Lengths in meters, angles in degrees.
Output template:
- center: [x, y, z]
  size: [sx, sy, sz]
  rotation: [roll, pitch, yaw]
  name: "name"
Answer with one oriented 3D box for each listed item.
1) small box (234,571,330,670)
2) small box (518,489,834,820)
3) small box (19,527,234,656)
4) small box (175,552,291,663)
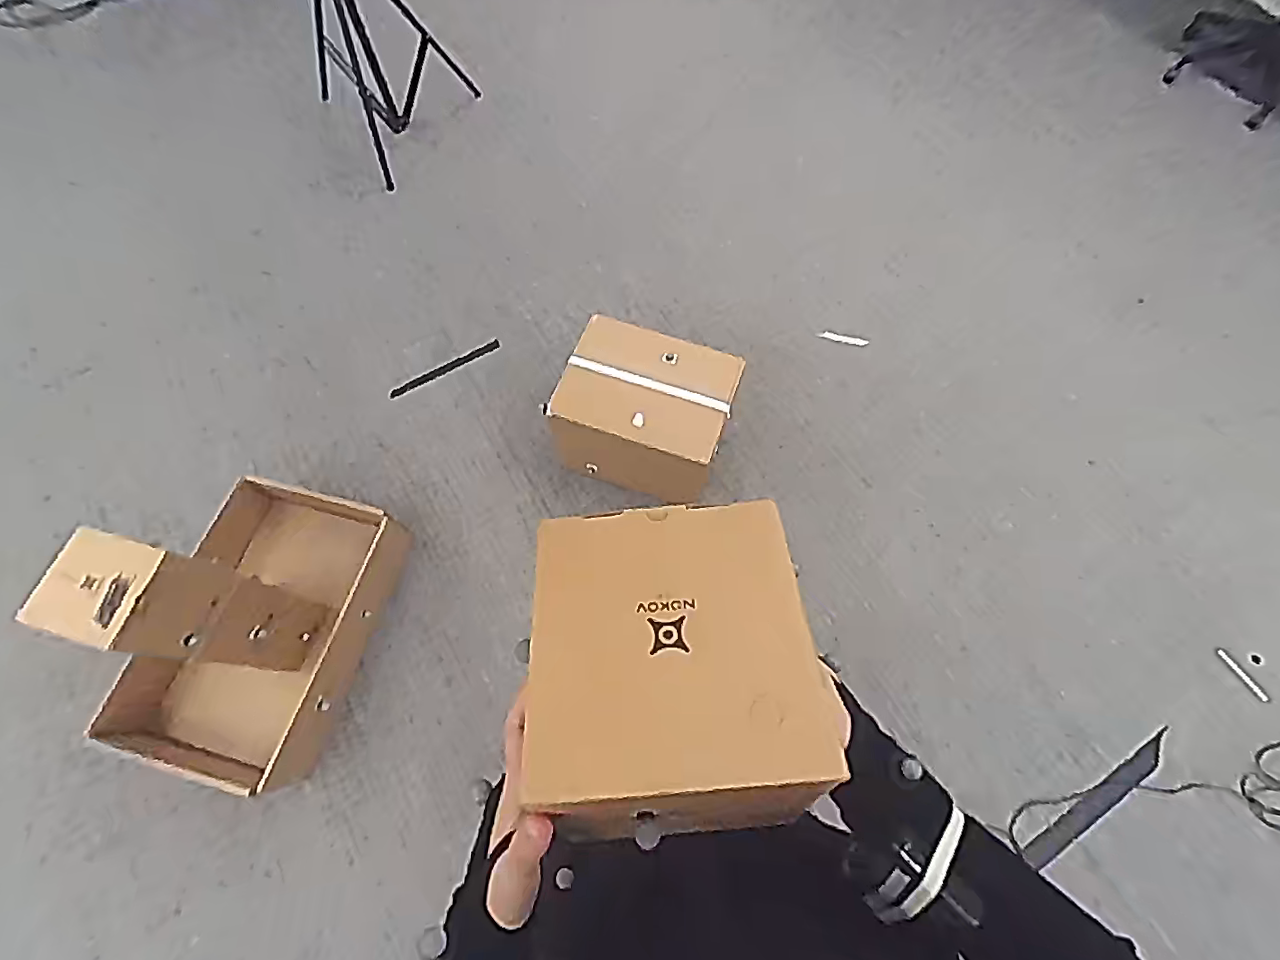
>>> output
- center: [-0.866, 0.328, 1.242]
  size: [0.179, 0.176, 0.168]
  rotation: [17, 69, 6]
  name: "small box"
- center: [0.020, 0.131, 0.386]
  size: [0.168, 0.176, 0.179]
  rotation: [-5, 50, 0]
  name: "small box"
- center: [-0.870, 0.201, 0.941]
  size: [0.179, 0.176, 0.168]
  rotation: [14, 68, 7]
  name: "small box"
- center: [-0.866, 0.264, 1.093]
  size: [0.179, 0.176, 0.168]
  rotation: [16, 69, 5]
  name: "small box"
